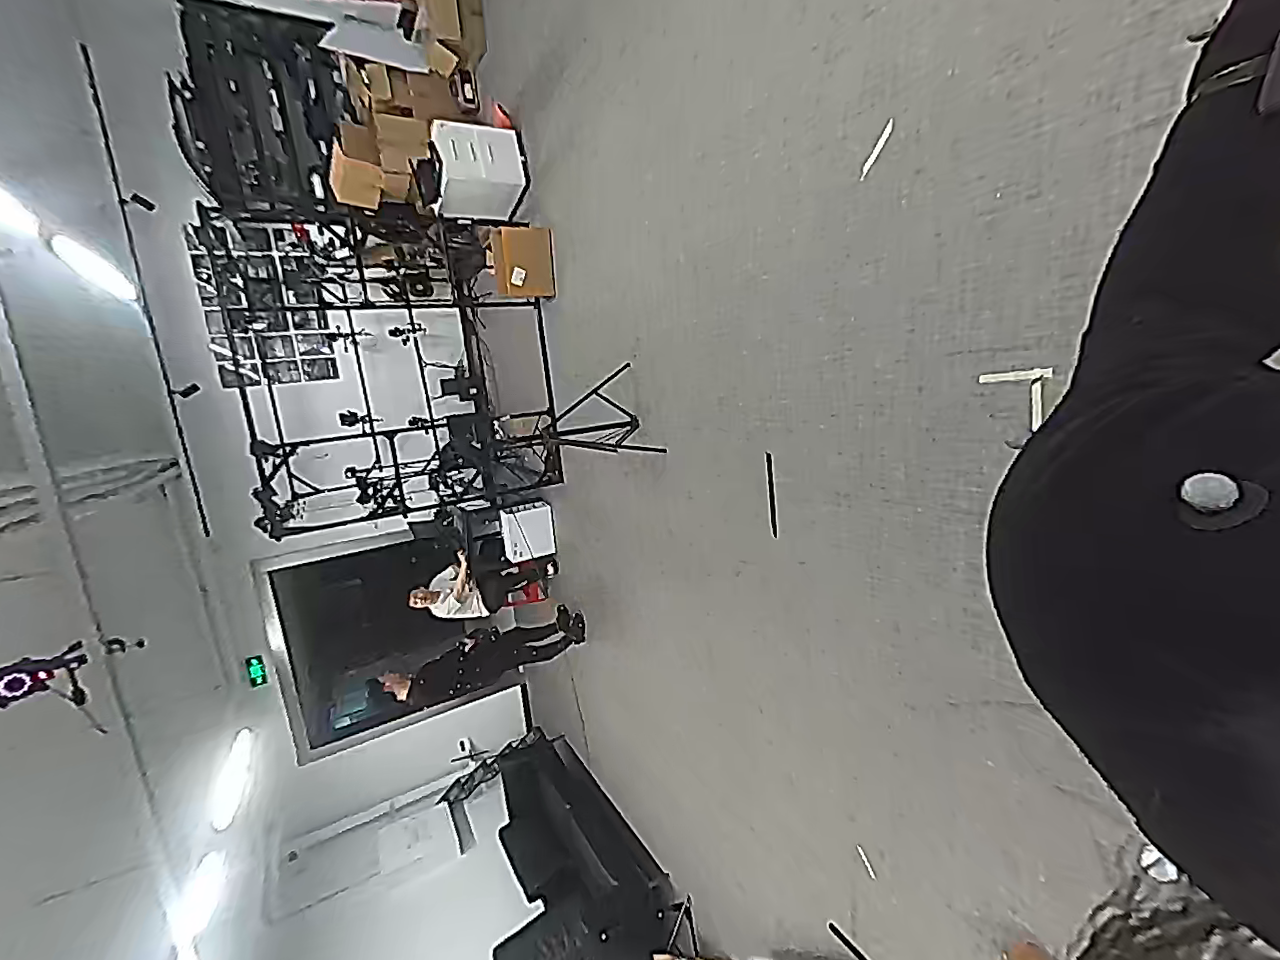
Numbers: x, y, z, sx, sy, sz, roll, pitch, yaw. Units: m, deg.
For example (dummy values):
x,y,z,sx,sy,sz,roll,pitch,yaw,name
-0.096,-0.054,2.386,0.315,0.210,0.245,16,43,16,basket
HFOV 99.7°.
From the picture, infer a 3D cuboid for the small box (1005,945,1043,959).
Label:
x,y,z,sx,sy,sz,roll,pitch,yaw,name
1.138,1.525,1.578,0.179,0.176,0.168,47,139,45,small box
